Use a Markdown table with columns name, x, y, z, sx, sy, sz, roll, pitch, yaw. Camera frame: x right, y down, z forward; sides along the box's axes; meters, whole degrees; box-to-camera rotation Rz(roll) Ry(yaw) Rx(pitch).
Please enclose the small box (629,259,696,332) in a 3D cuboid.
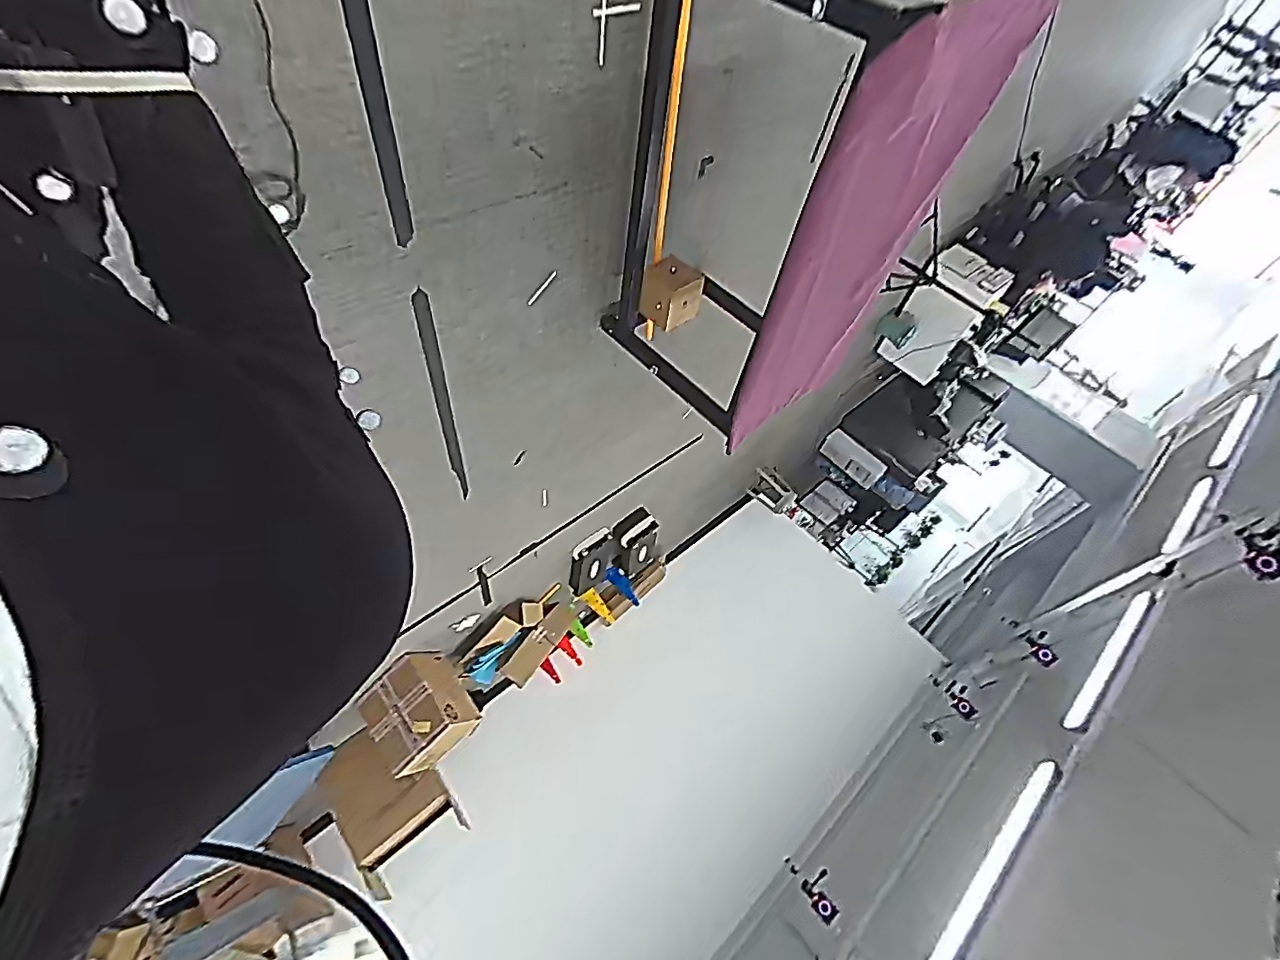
| name | x | y | z | sx | sy | sz | roll | pitch | yaw |
| --- | --- | --- | --- | --- | --- | --- | --- | --- | --- |
| small box | 0.074 | -0.679 | 1.970 | 0.168 | 0.176 | 0.179 | -33 | 155 | -27 |
